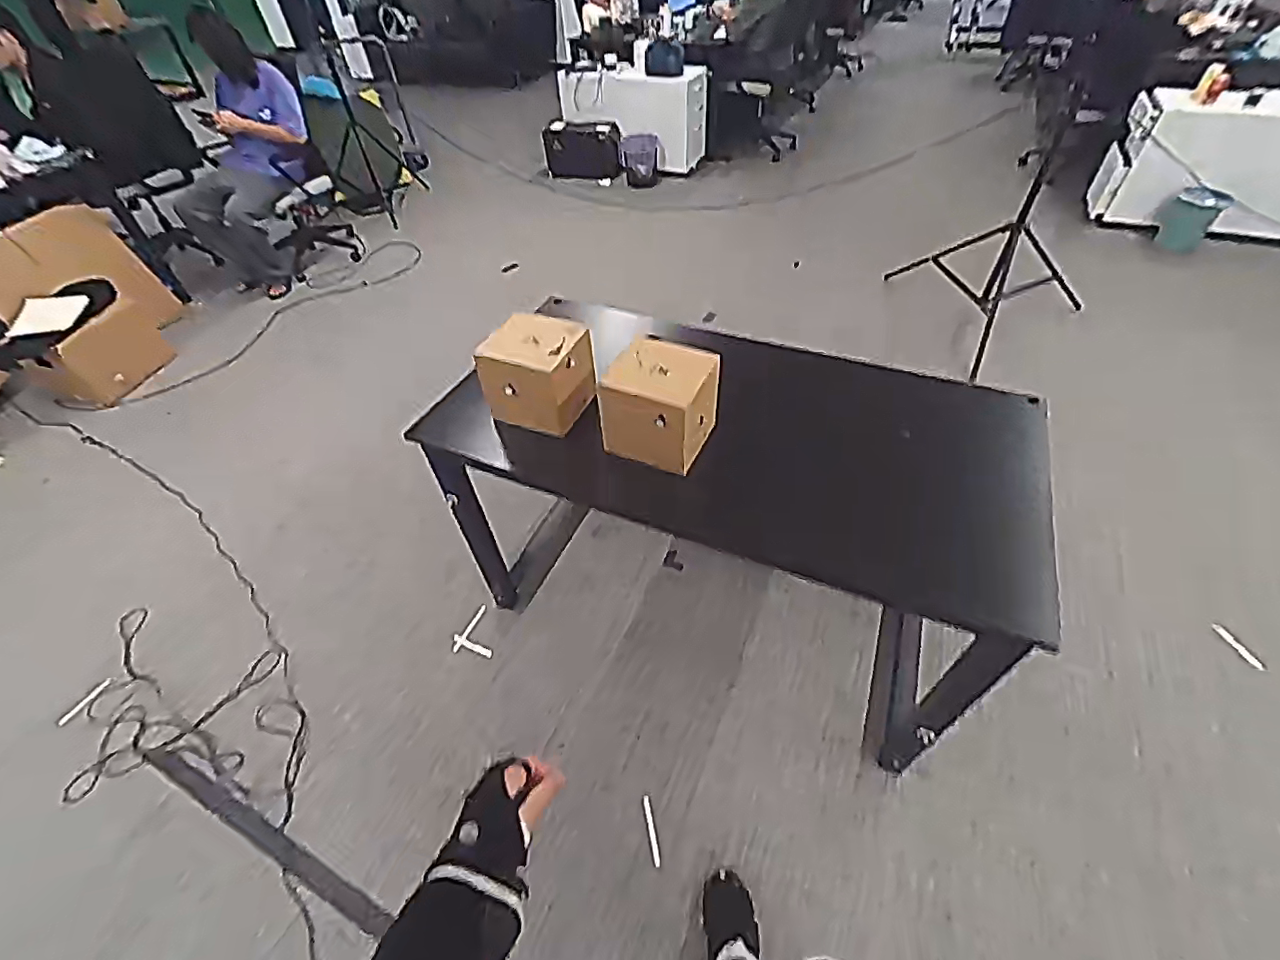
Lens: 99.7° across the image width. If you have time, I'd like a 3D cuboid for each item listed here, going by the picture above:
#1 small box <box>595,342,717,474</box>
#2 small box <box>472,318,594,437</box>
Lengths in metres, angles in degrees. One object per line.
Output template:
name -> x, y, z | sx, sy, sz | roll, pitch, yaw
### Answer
small box -> 0.034, -0.136, 1.039 | 0.179, 0.176, 0.168 | 18, 50, 19
small box -> -0.213, -0.211, 1.126 | 0.179, 0.176, 0.168 | 15, 50, 17
